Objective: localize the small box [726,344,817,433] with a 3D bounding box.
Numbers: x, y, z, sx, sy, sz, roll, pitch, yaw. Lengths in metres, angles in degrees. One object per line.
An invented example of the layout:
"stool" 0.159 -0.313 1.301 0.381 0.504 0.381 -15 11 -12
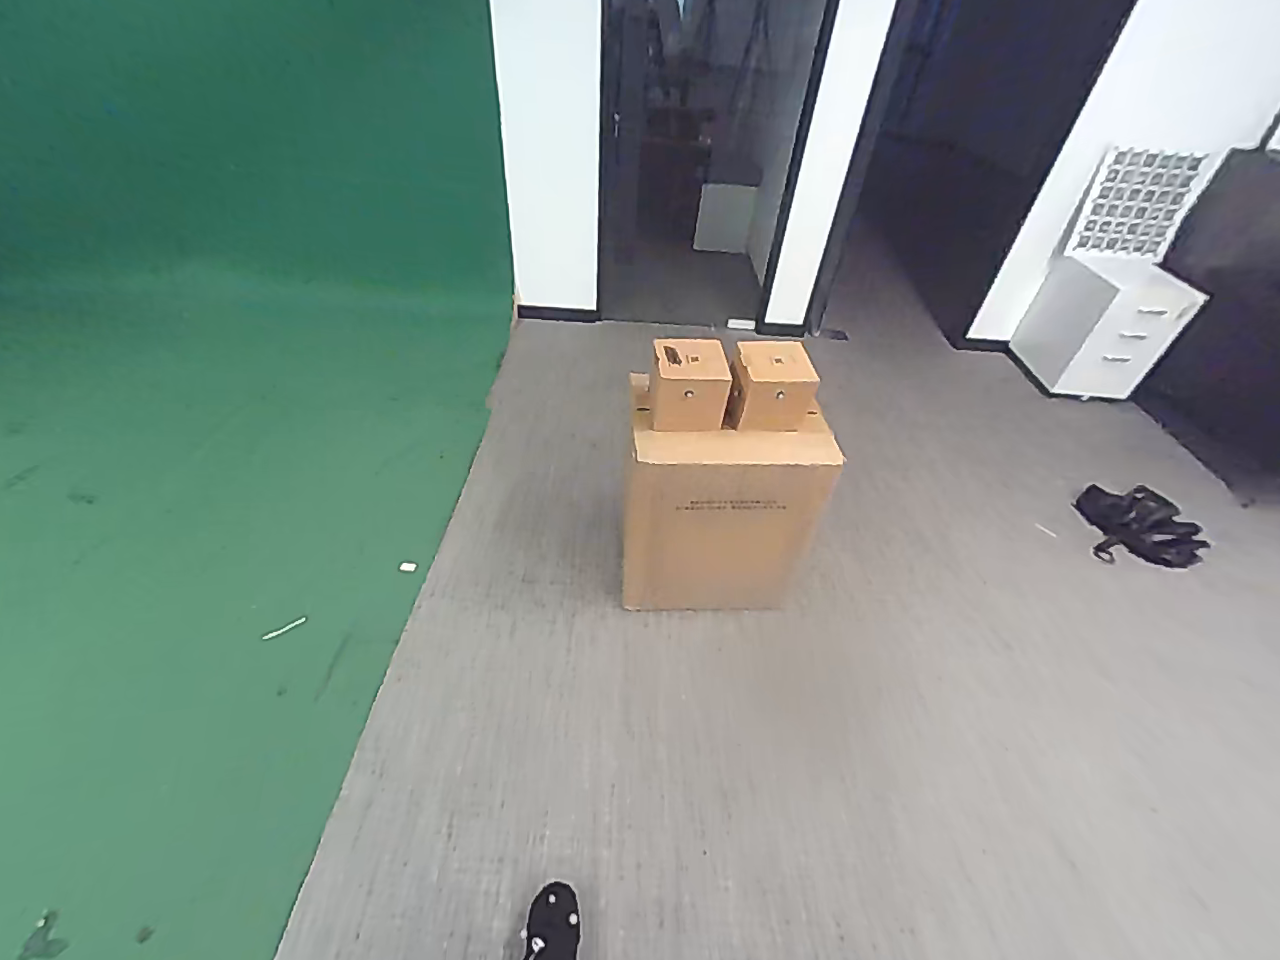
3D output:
"small box" 0.333 -0.236 1.414 0.179 0.176 0.168 0 49 -9

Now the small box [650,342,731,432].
"small box" 0.120 -0.236 1.388 0.179 0.176 0.168 0 48 -7
